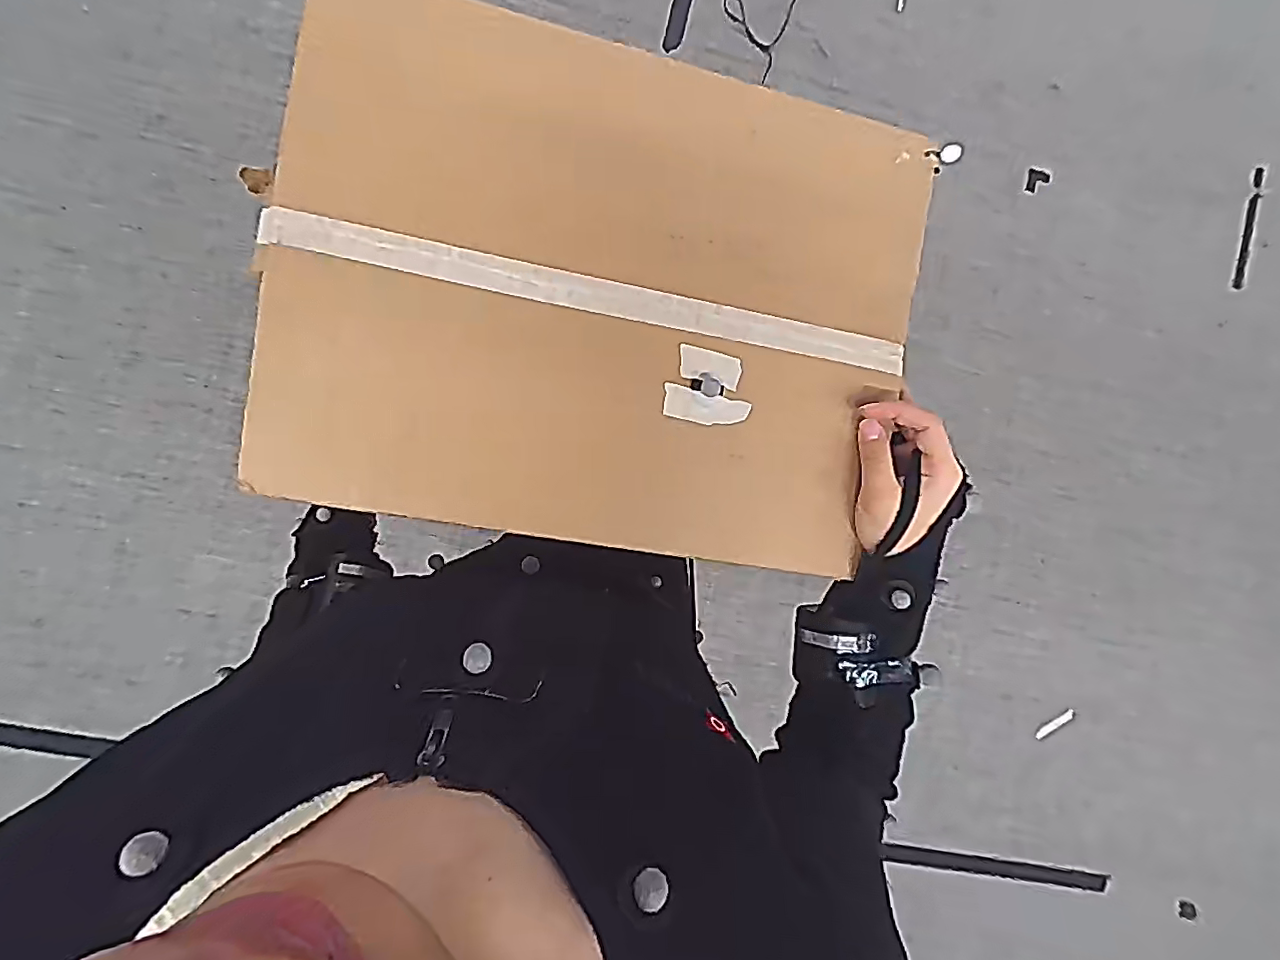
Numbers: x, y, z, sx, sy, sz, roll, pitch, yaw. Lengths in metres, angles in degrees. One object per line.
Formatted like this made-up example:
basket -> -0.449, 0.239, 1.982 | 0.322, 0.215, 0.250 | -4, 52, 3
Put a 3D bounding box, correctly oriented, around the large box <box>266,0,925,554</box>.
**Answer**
large box -> -0.038, -0.131, 0.499 | 0.408, 0.320, 0.320 | 9, 92, -11
